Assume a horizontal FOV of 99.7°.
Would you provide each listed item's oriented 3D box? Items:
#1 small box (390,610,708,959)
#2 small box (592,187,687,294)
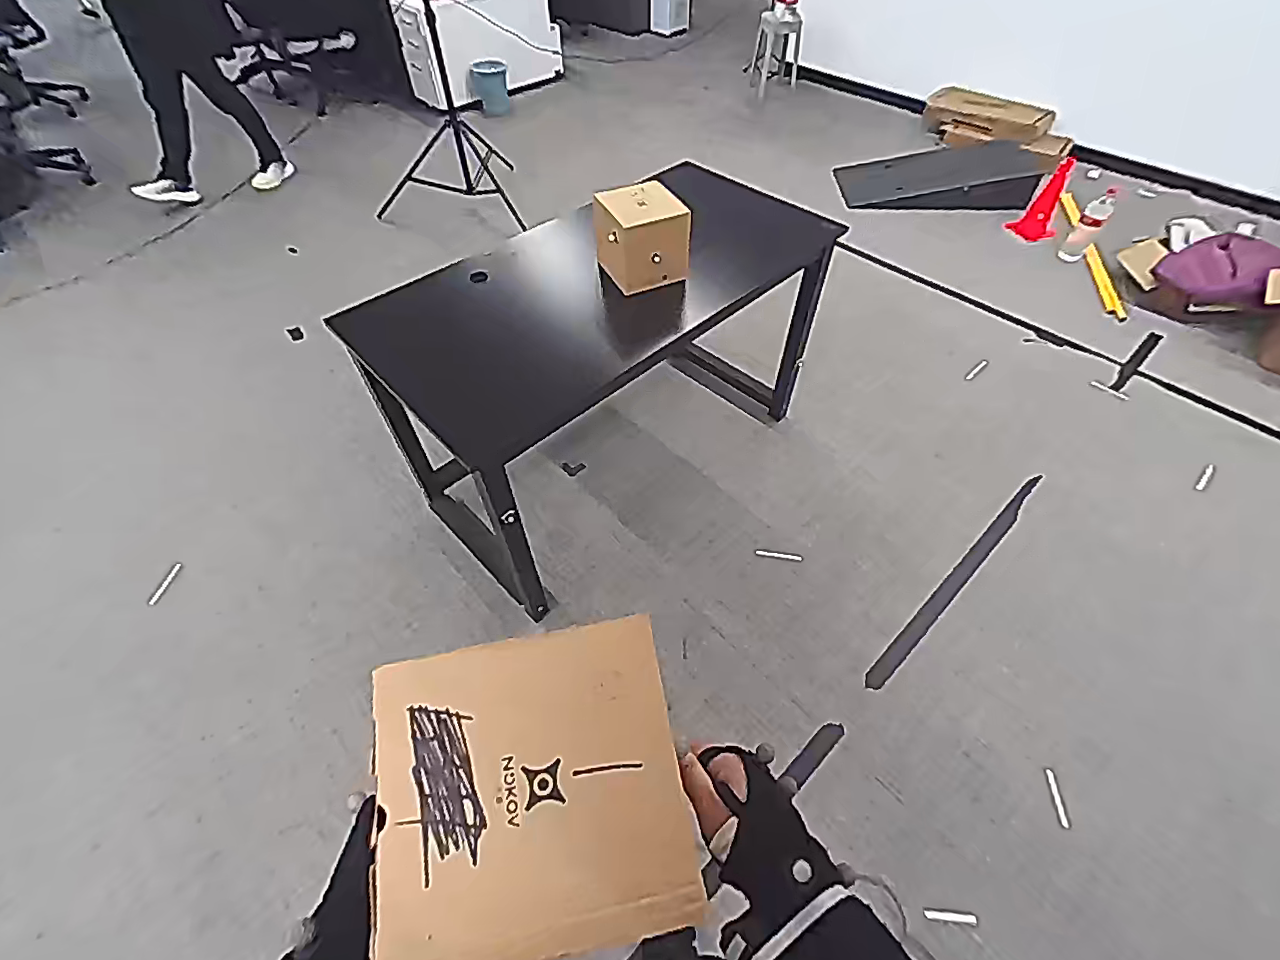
[{"bbox_3d":[-0.061,0.205,0.395,0.179,0.176,0.168,-10,67,-5],"label":"small box"},{"bbox_3d":[-0.002,-0.564,1.292,0.168,0.176,0.179,-21,54,-16],"label":"small box"}]
